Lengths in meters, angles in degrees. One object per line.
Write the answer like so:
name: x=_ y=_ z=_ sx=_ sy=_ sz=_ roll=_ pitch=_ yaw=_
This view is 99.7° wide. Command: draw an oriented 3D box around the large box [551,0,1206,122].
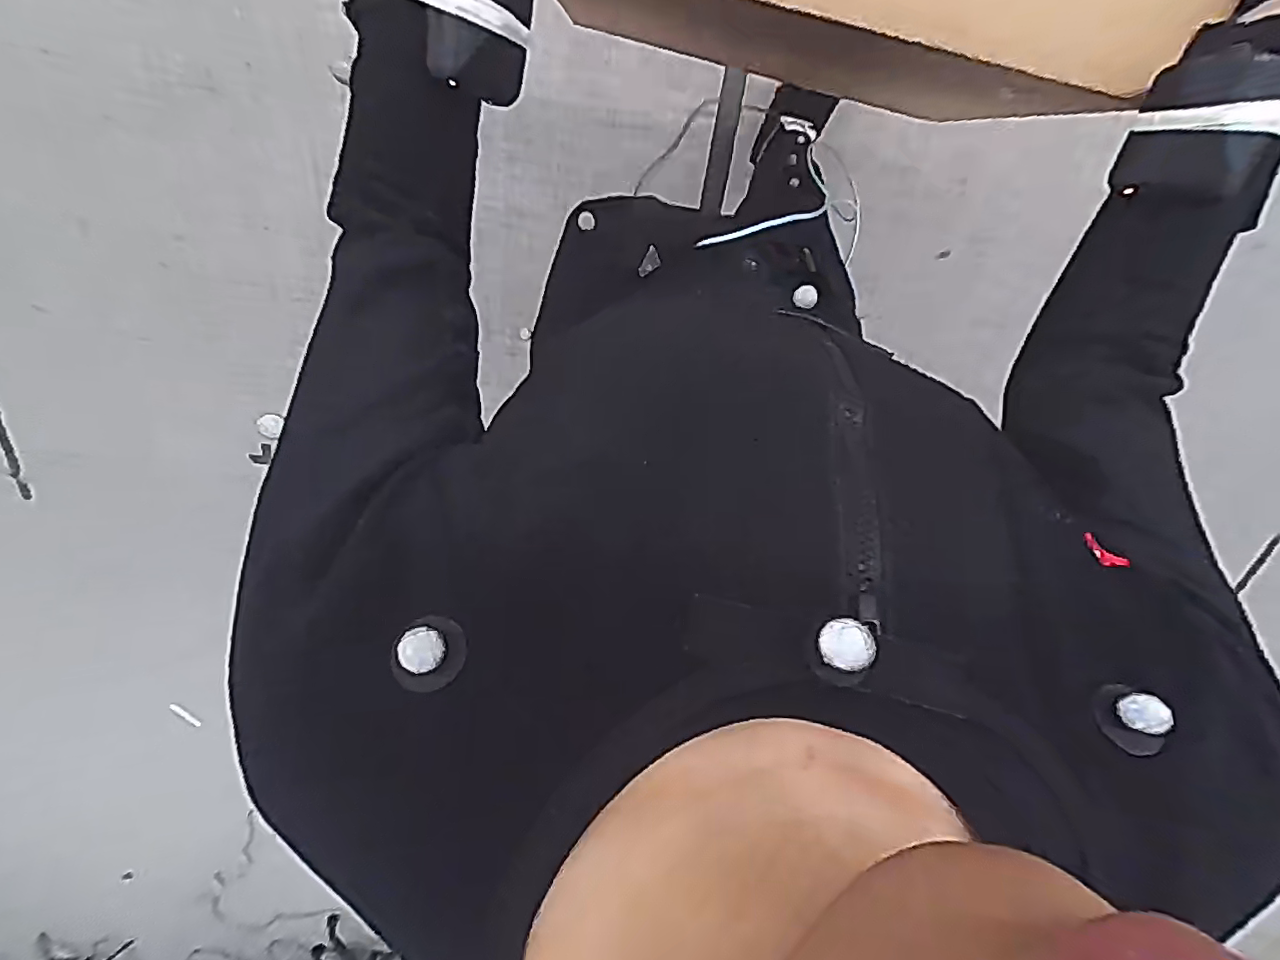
large box: x=0.149 y=-0.468 z=0.365 sx=0.408 sy=0.320 sz=0.320 roll=10 pitch=123 yaw=-6
